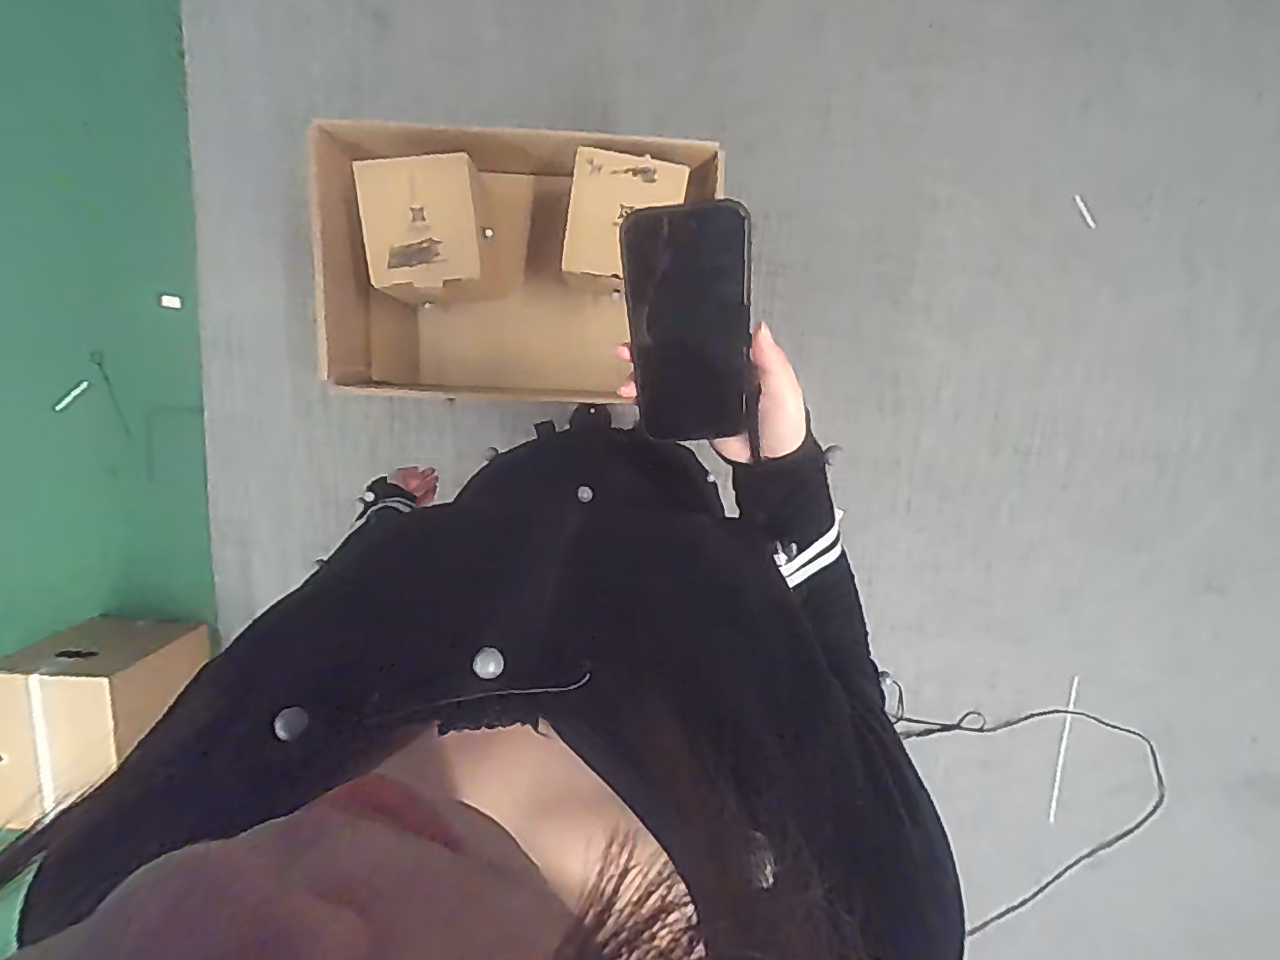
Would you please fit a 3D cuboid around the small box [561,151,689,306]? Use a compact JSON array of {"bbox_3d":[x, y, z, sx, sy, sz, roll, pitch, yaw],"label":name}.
[{"bbox_3d":[-0.024,-0.389,0.871,0.168,0.176,0.179,10,100,-3],"label":"small box"}]
